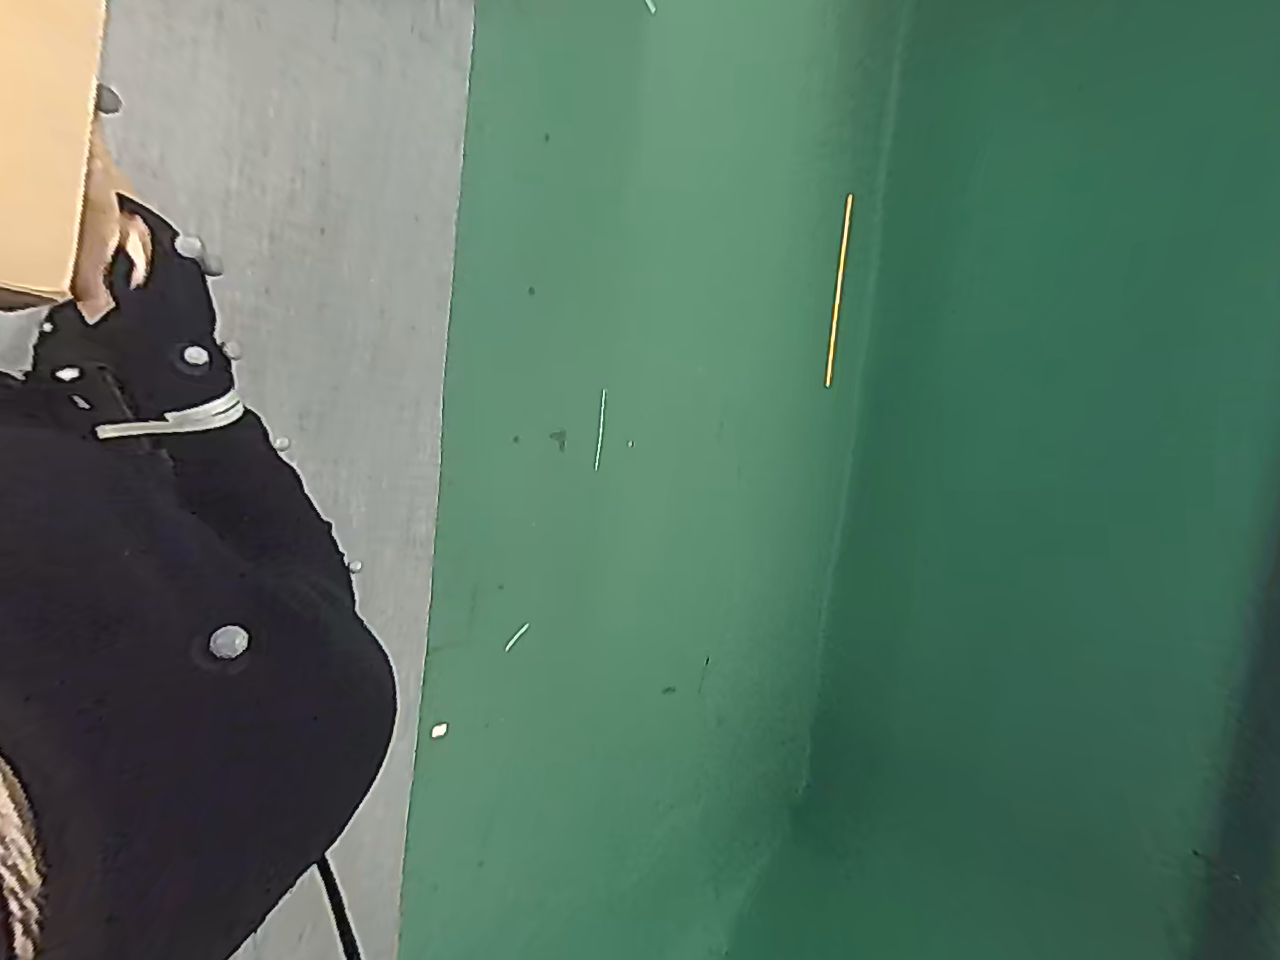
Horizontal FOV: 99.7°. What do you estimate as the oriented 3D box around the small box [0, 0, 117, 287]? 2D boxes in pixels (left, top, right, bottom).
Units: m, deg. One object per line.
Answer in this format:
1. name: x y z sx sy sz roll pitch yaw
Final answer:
1. small box: -0.403 -0.211 0.265 0.168 0.176 0.179 8 92 -58
